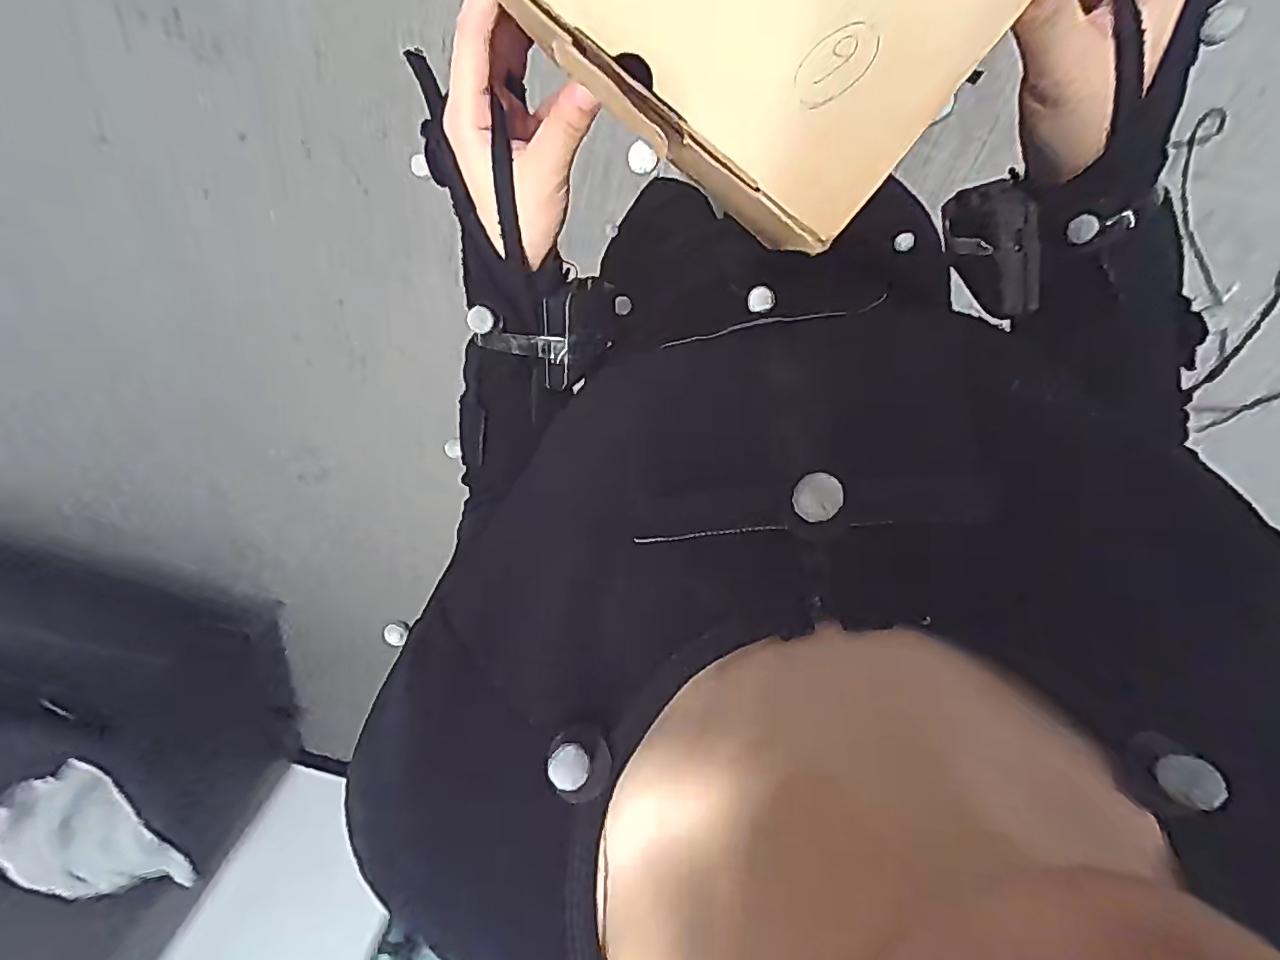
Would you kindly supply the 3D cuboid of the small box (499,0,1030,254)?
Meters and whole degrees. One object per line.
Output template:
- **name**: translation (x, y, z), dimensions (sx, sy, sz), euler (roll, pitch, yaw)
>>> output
- **small box**: translation (0.061, -0.219, 0.219), dimensions (0.168, 0.176, 0.179), euler (37, 114, -8)
